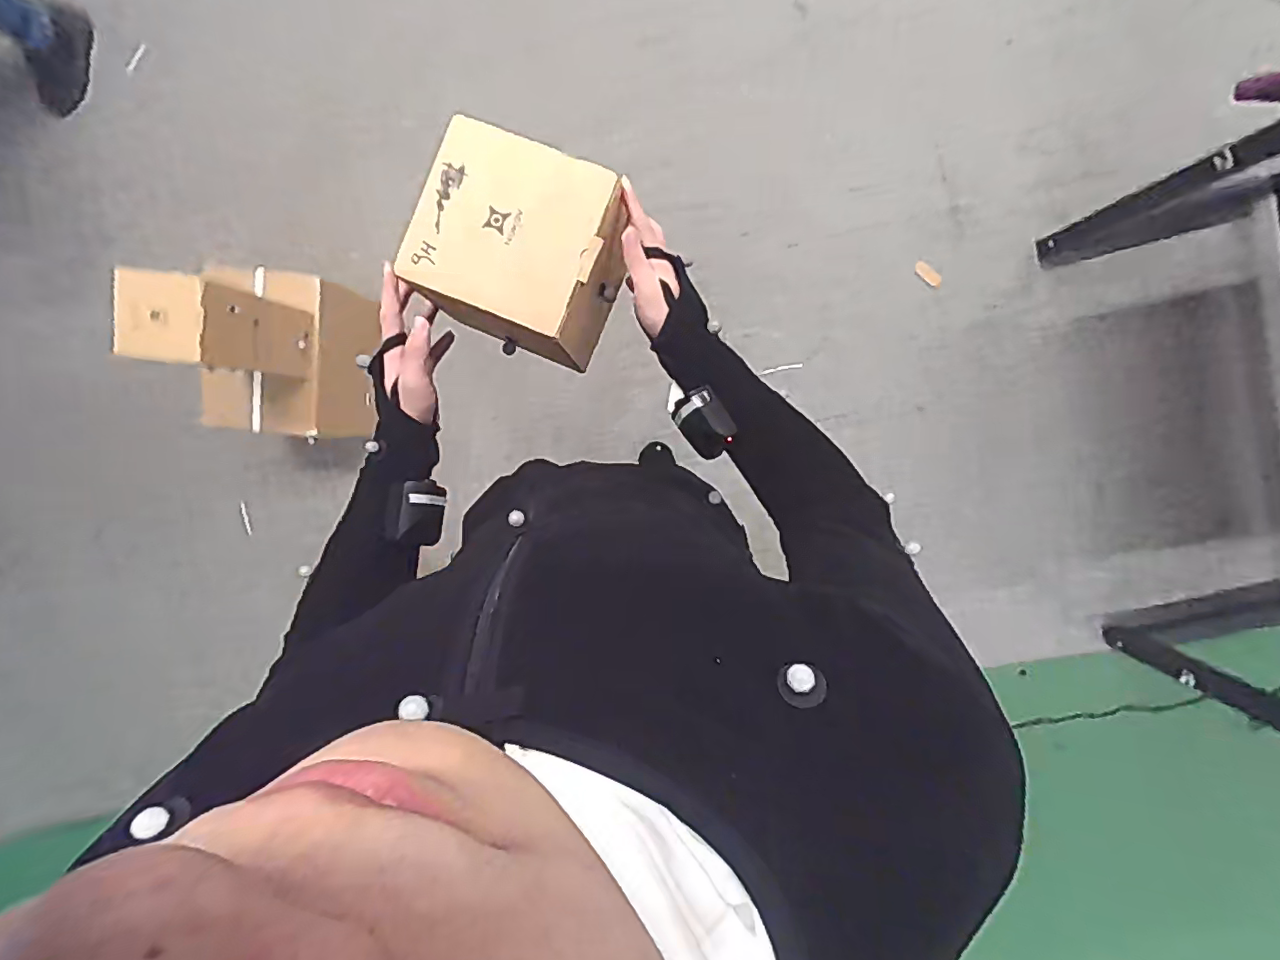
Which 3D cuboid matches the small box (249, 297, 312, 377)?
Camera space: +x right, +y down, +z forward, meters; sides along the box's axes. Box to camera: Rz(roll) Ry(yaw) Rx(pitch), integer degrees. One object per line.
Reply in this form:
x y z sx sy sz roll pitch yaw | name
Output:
-0.915 -0.339 1.272 0.179 0.176 0.168 8 97 1 | small box

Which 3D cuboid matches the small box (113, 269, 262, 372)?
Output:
-0.918 -0.318 1.110 0.179 0.176 0.168 7 96 2 | small box

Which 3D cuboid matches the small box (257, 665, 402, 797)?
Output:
-0.667 0.532 1.182 0.168 0.176 0.179 -40 92 7 | small box
